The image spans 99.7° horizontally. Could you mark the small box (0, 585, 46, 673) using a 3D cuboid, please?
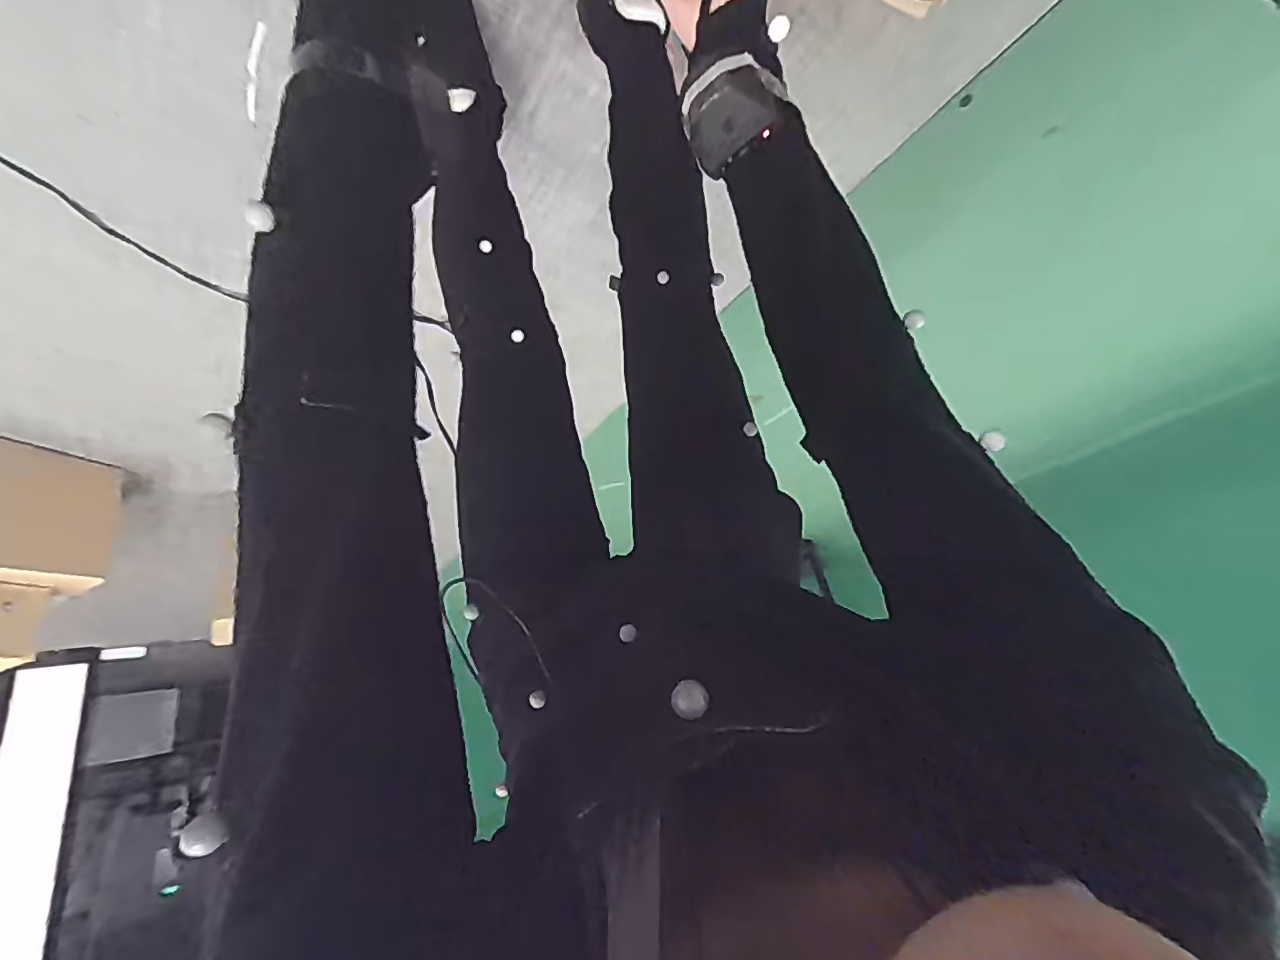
[{"bbox_3d":[-1.478,0.333,1.190,0.179,0.176,0.168,-18,156,12],"label":"small box"}]

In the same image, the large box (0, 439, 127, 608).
[{"bbox_3d":[-1.539,0.099,1.246,0.320,0.320,0.408,-21,154,15],"label":"large box"}]
